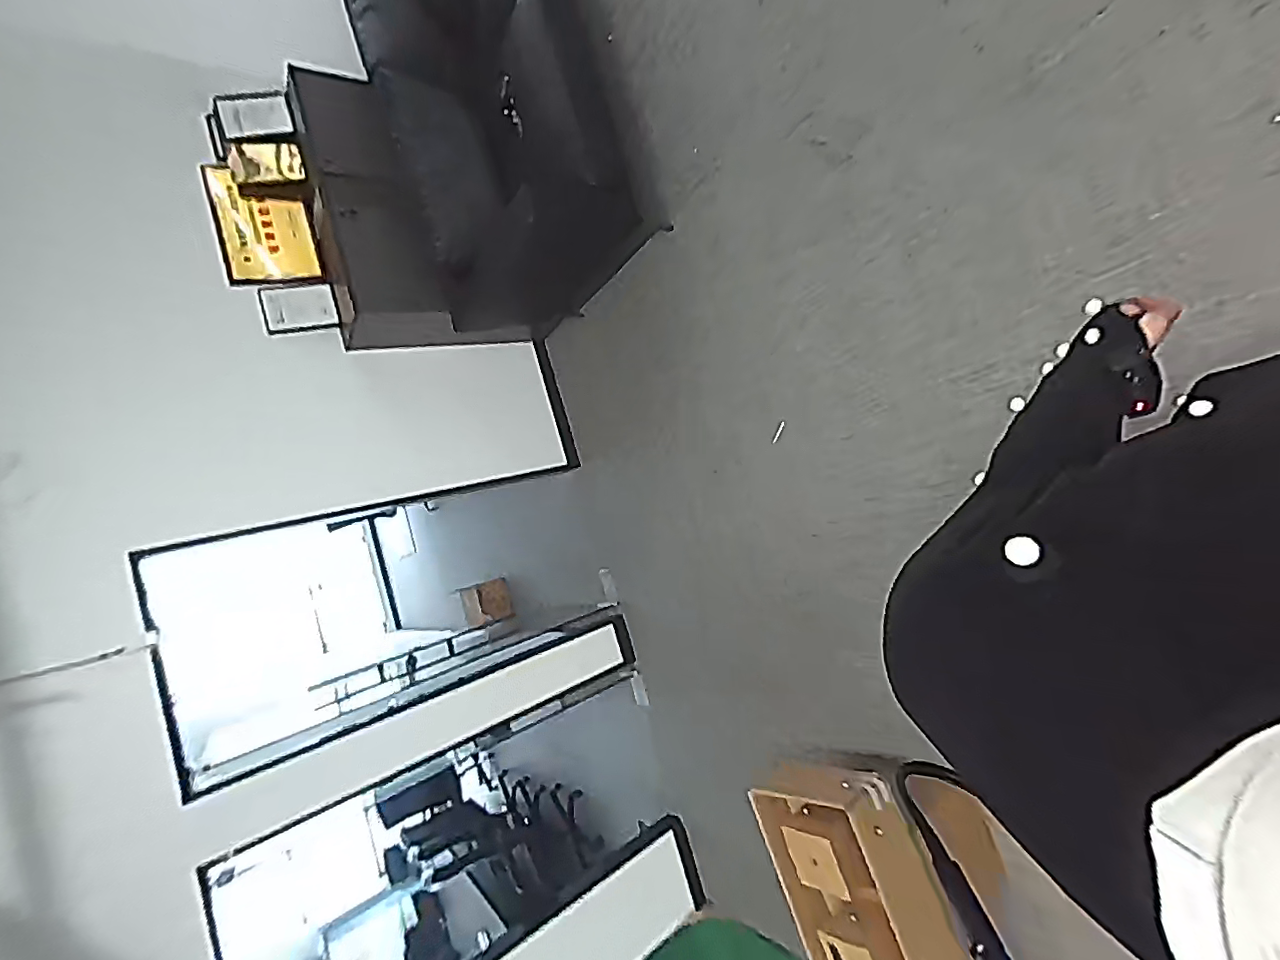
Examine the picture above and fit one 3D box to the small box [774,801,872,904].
[{"bbox_3d":[0.526,1.057,1.554,0.179,0.176,0.168,-28,79,52],"label":"small box"}]
